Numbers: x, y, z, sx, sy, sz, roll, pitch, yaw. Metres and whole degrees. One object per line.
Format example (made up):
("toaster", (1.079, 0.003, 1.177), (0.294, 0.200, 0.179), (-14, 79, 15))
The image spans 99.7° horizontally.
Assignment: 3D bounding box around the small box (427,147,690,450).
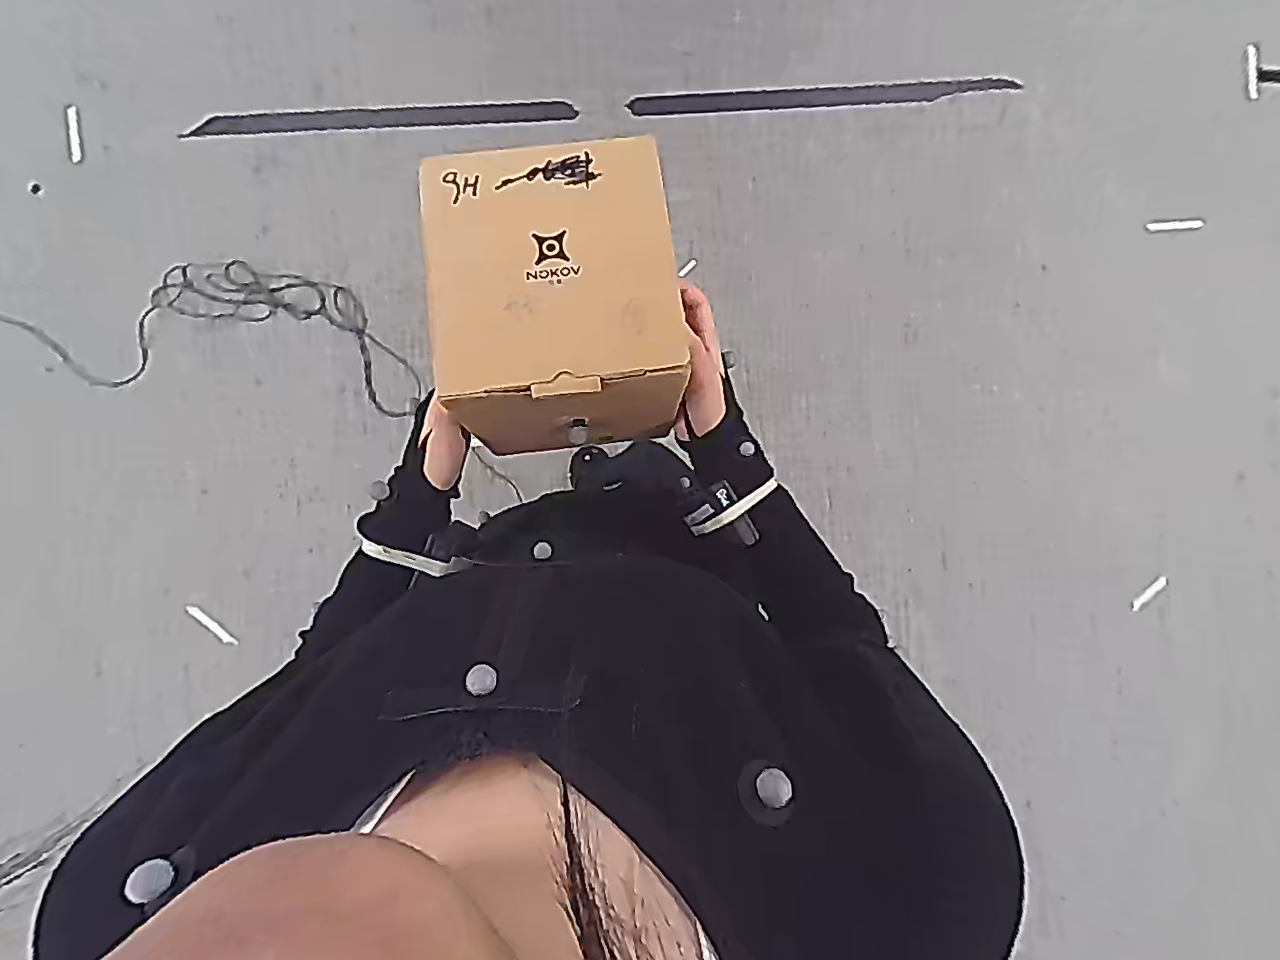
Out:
("small box", (-0.058, -0.126, 0.437), (0.168, 0.176, 0.179), (-6, 81, -4))
